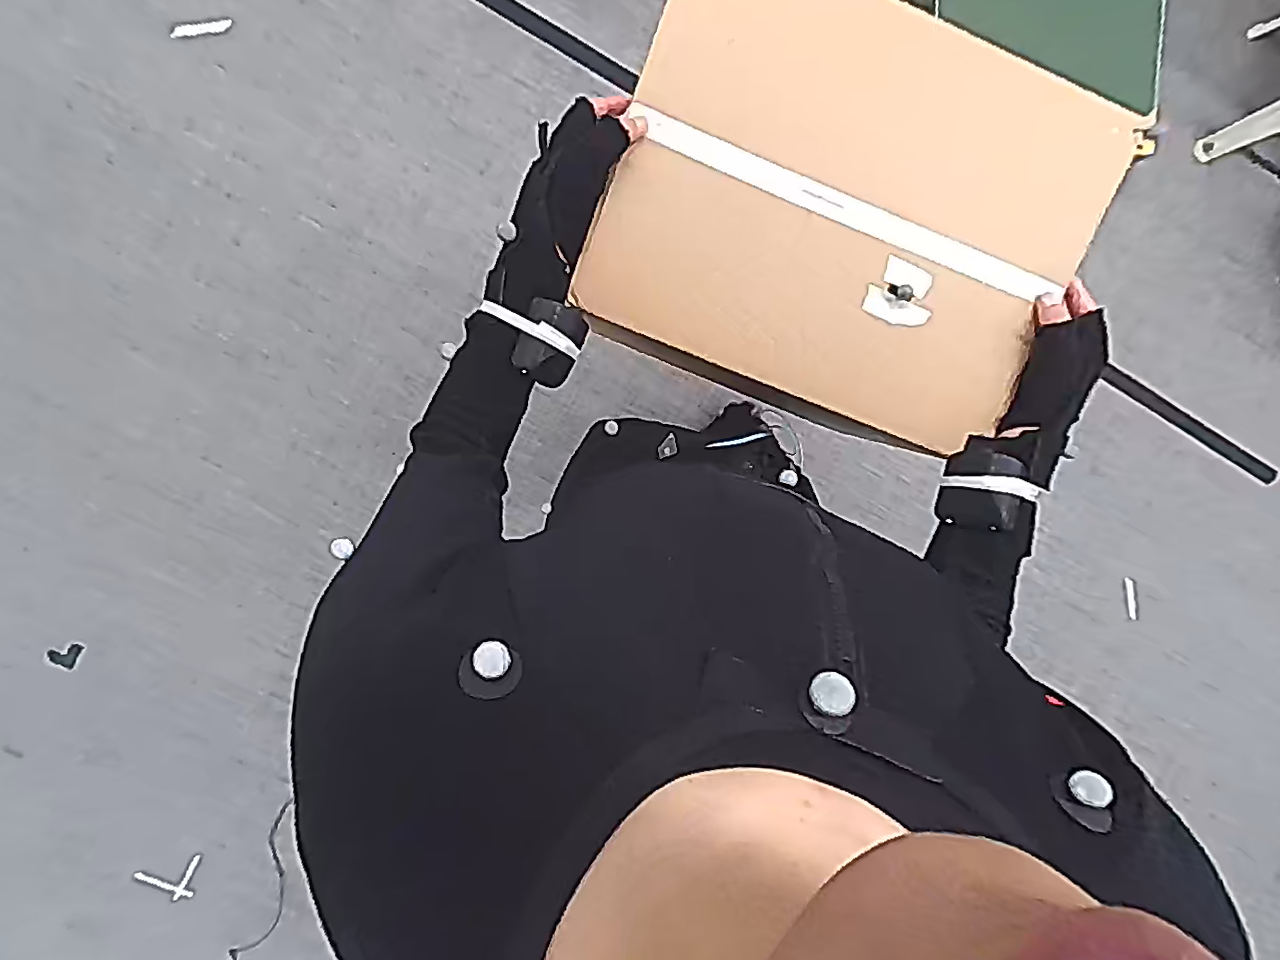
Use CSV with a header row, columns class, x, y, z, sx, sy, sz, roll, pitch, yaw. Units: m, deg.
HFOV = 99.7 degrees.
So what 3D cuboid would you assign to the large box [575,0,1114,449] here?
class,x,y,z,sx,sy,sz,roll,pitch,yaw
large box,0.169,-0.261,0.619,0.408,0.320,0.320,20,100,-6
